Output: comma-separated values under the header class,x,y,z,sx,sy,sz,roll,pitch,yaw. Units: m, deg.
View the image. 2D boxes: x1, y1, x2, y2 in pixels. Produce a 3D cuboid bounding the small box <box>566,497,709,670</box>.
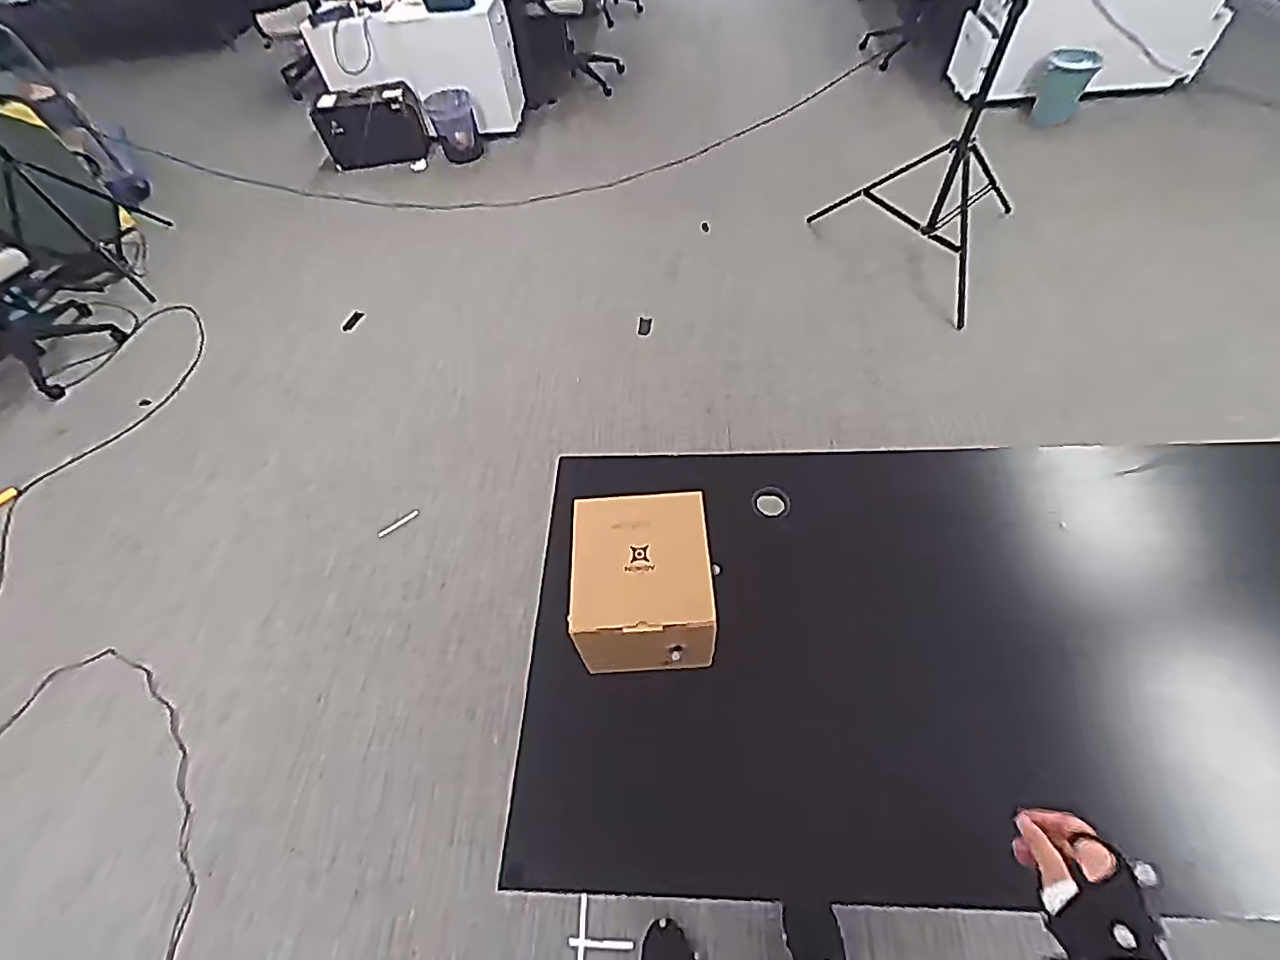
class,x,y,z,sx,sy,sz,roll,pitch,yaw
small box,0.000,0.144,0.714,0.168,0.176,0.179,-3,54,1
